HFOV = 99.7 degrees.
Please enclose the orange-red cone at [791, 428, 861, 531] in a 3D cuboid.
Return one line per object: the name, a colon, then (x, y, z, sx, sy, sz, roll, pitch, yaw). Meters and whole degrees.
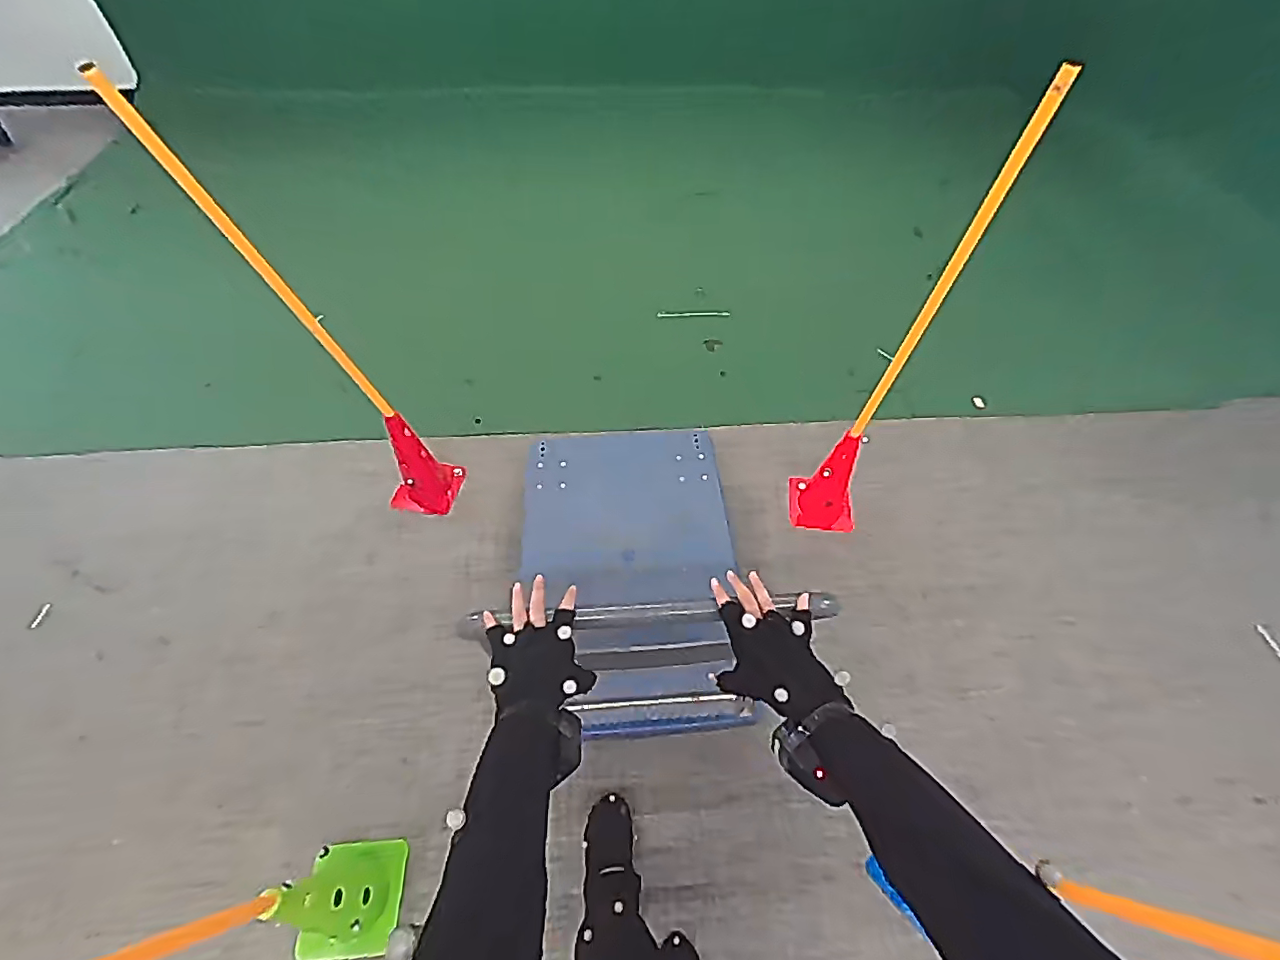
orange-red cone: (0.594, -0.024, 1.632, 0.198, 0.360, 0.199, 7, 55, 5)
